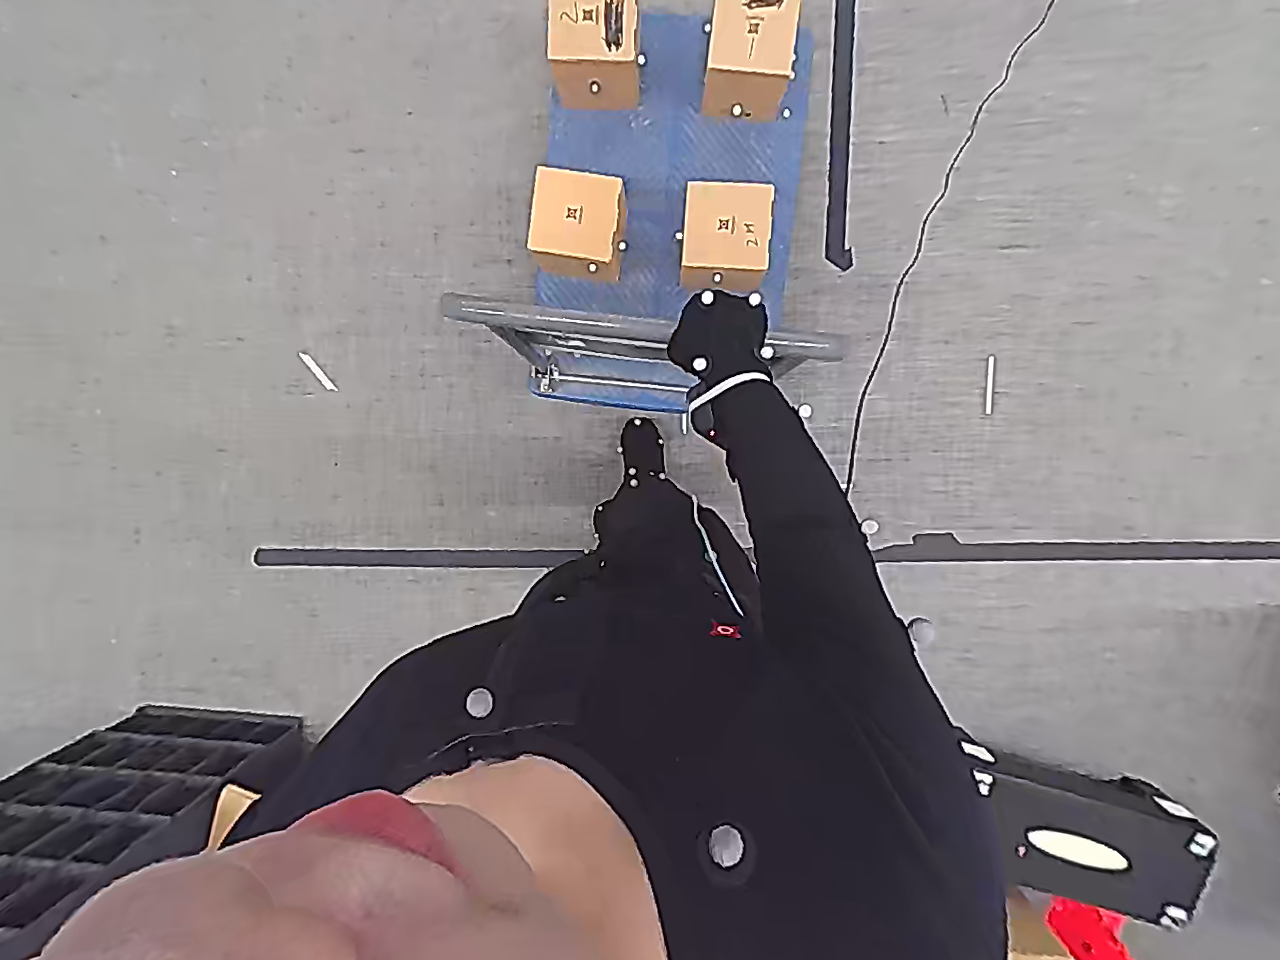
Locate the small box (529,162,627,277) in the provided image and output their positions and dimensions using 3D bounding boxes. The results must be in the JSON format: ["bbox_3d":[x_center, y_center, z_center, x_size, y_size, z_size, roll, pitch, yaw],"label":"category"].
[{"bbox_3d":[-0.128,-0.552,1.166,0.179,0.176,0.168,8,95,0],"label":"small box"}]

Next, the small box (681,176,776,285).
[{"bbox_3d":[0.180,-0.524,1.157,0.179,0.176,0.168,4,96,2],"label":"small box"}]

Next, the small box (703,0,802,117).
[{"bbox_3d":[0.226,-0.897,1.119,0.168,0.176,0.179,7,97,2],"label":"small box"}]
